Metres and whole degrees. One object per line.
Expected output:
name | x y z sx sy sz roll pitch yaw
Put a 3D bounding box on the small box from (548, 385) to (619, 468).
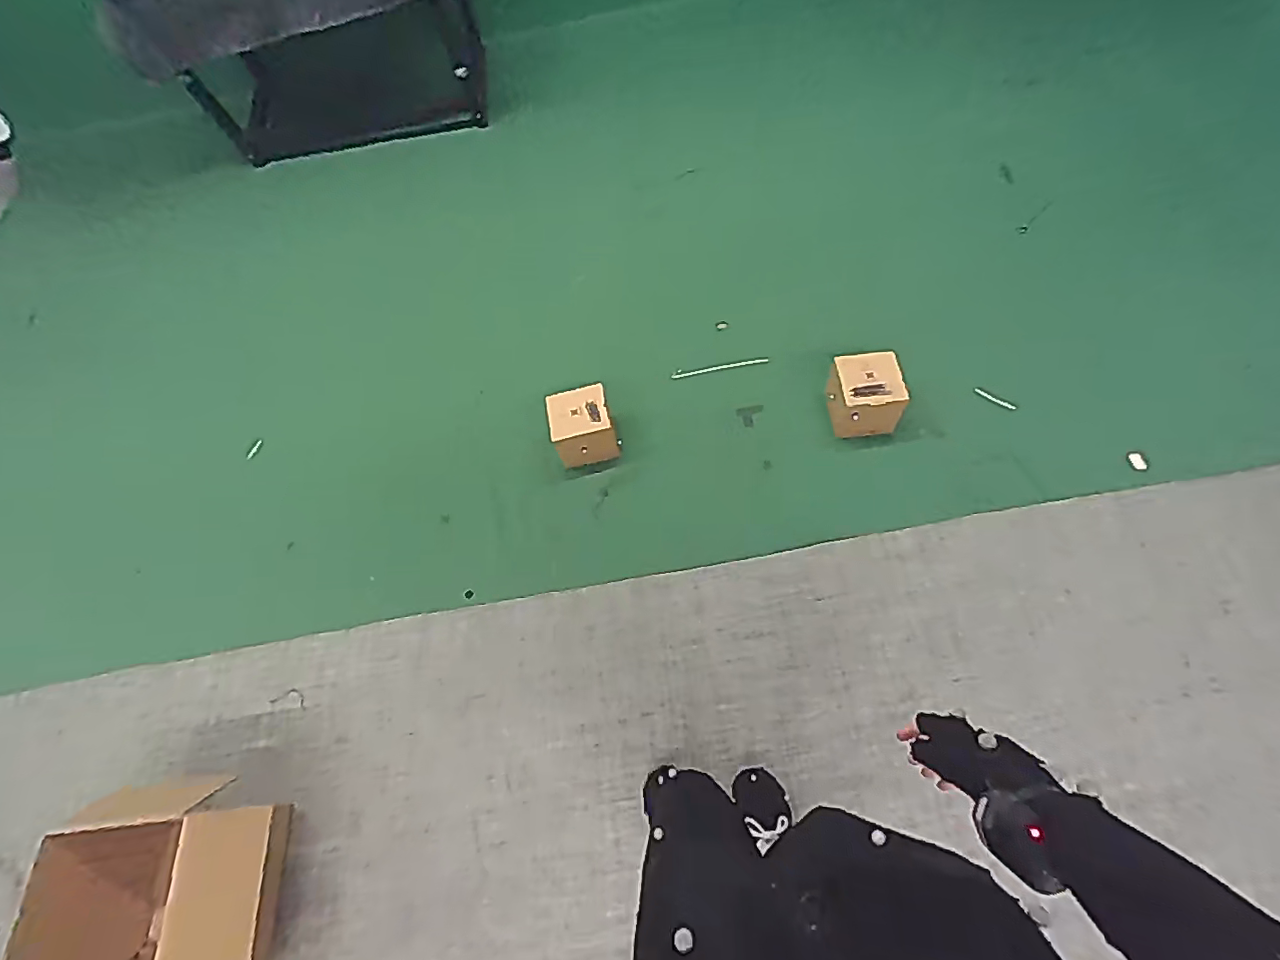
small box | -0.165 -0.157 1.633 0.179 0.176 0.168 -13 61 2
